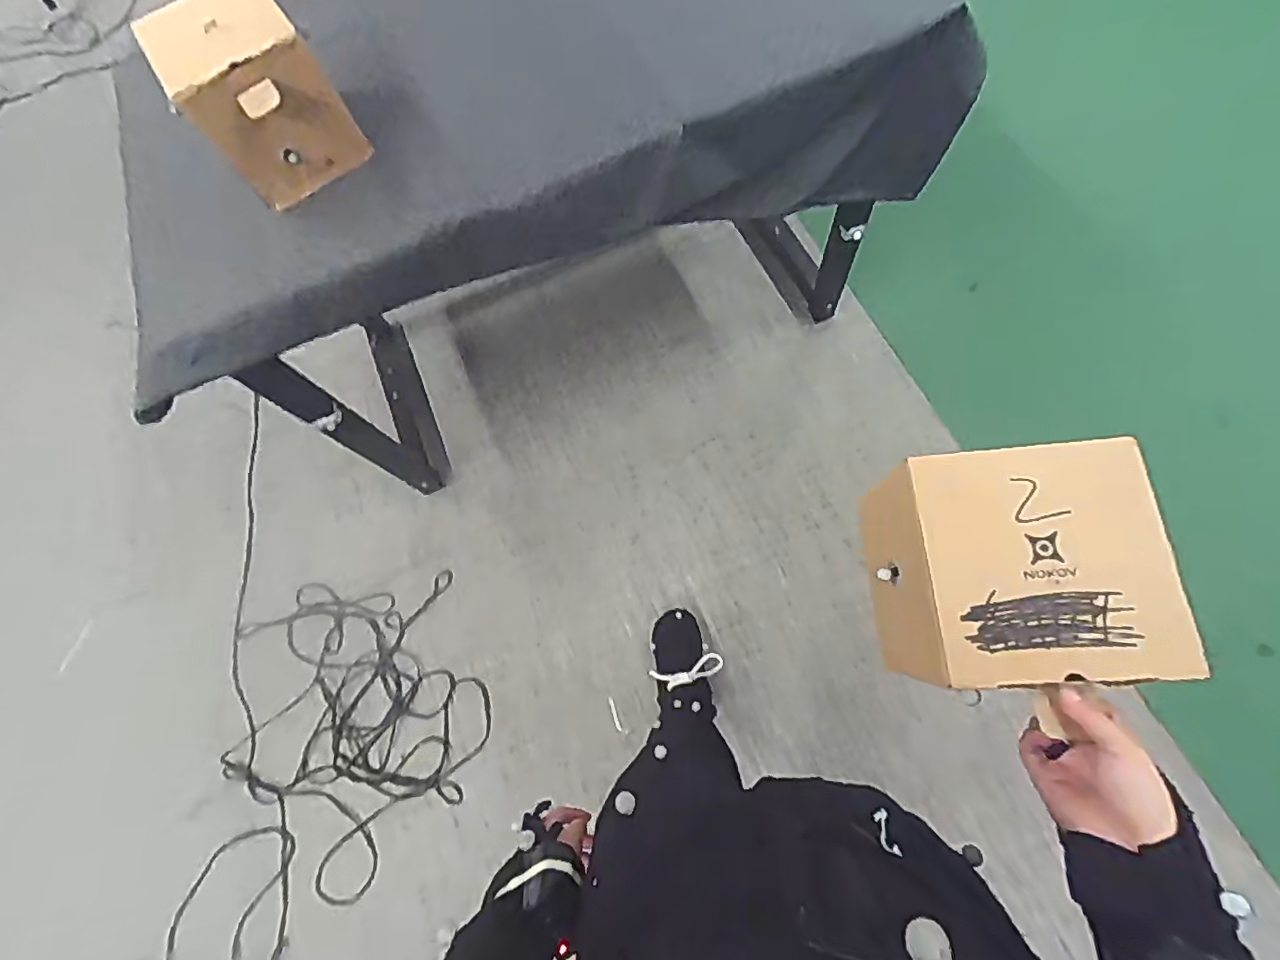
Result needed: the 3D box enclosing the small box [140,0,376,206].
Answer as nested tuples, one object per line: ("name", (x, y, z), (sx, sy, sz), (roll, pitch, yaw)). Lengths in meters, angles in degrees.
("small box", (-0.499, -0.516, 0.728), (0.168, 0.176, 0.179), (-35, 71, -7))
